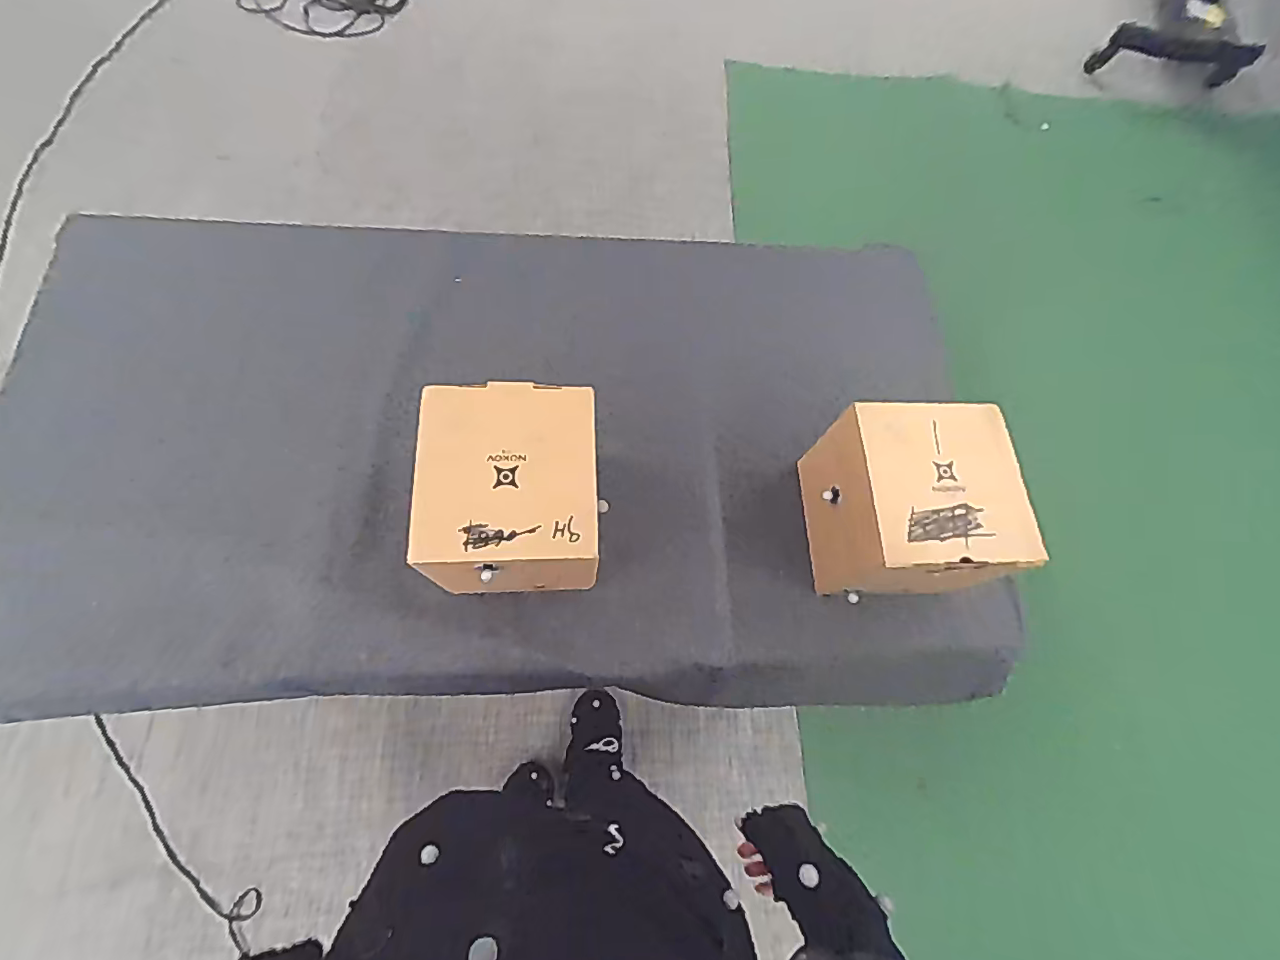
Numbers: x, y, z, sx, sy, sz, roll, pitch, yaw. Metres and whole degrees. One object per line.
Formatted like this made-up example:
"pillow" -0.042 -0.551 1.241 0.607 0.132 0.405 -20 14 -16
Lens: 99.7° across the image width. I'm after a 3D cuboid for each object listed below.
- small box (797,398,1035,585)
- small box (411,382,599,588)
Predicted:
"small box" 0.295 0.023 0.622 0.168 0.176 0.179 0 69 -5
"small box" -0.131 0.013 0.582 0.168 0.176 0.179 -1 69 -6
